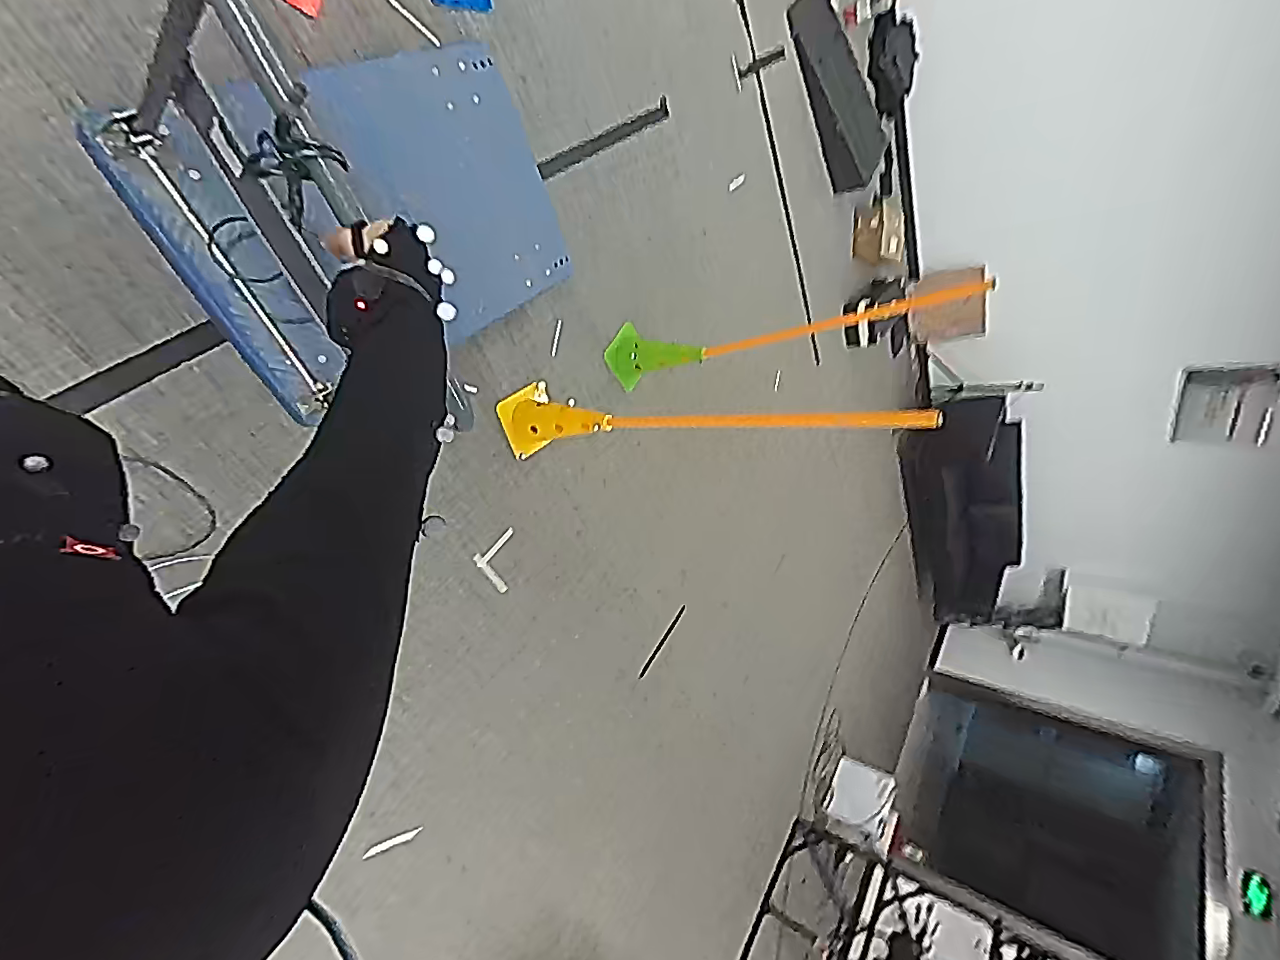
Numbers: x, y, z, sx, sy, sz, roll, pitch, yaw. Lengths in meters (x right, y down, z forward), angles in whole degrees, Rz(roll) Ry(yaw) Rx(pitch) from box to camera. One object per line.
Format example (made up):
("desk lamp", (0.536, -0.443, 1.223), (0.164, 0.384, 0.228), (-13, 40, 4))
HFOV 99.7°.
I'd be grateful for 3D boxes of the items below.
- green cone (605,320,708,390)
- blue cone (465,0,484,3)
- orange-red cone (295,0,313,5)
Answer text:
("green cone", (0.086, -0.451, 1.929), (0.200, 0.368, 0.202), (51, 60, -41))
("blue cone", (-0.372, -1.321, 1.274), (0.192, 0.380, 0.193), (-34, 121, -41))
("orange-red cone", (-0.627, -1.100, 0.986), (0.199, 0.360, 0.198), (8, 91, -51))
